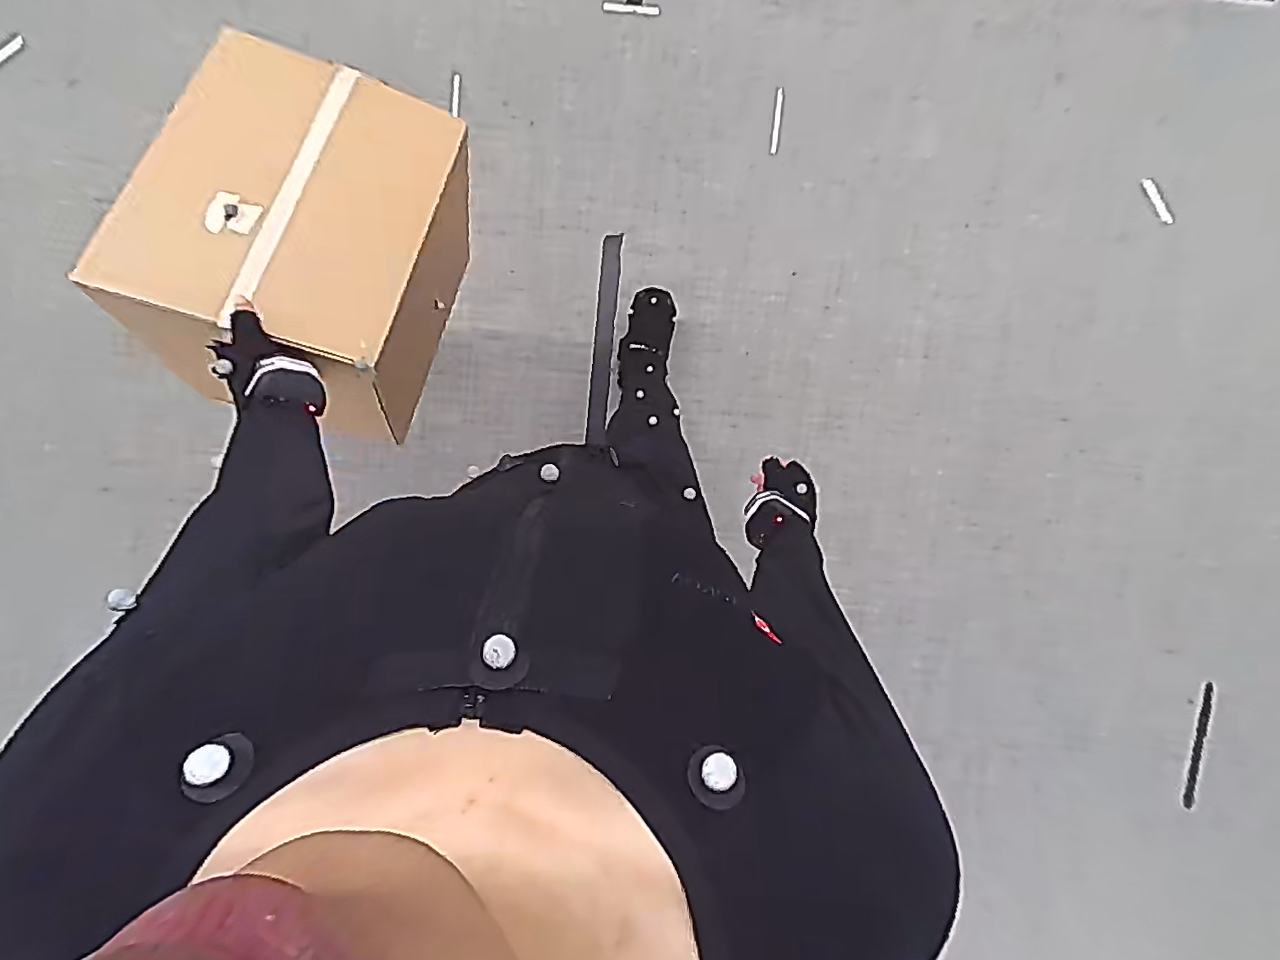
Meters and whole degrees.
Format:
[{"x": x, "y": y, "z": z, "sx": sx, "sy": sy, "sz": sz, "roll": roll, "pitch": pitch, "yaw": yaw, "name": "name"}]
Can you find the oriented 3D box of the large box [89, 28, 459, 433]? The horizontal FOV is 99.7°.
[{"x": -0.478, "y": -0.335, "z": 0.823, "sx": 0.320, "sy": 0.320, "sz": 0.408, "roll": 15, "pitch": 73, "yaw": -13, "name": "large box"}]
